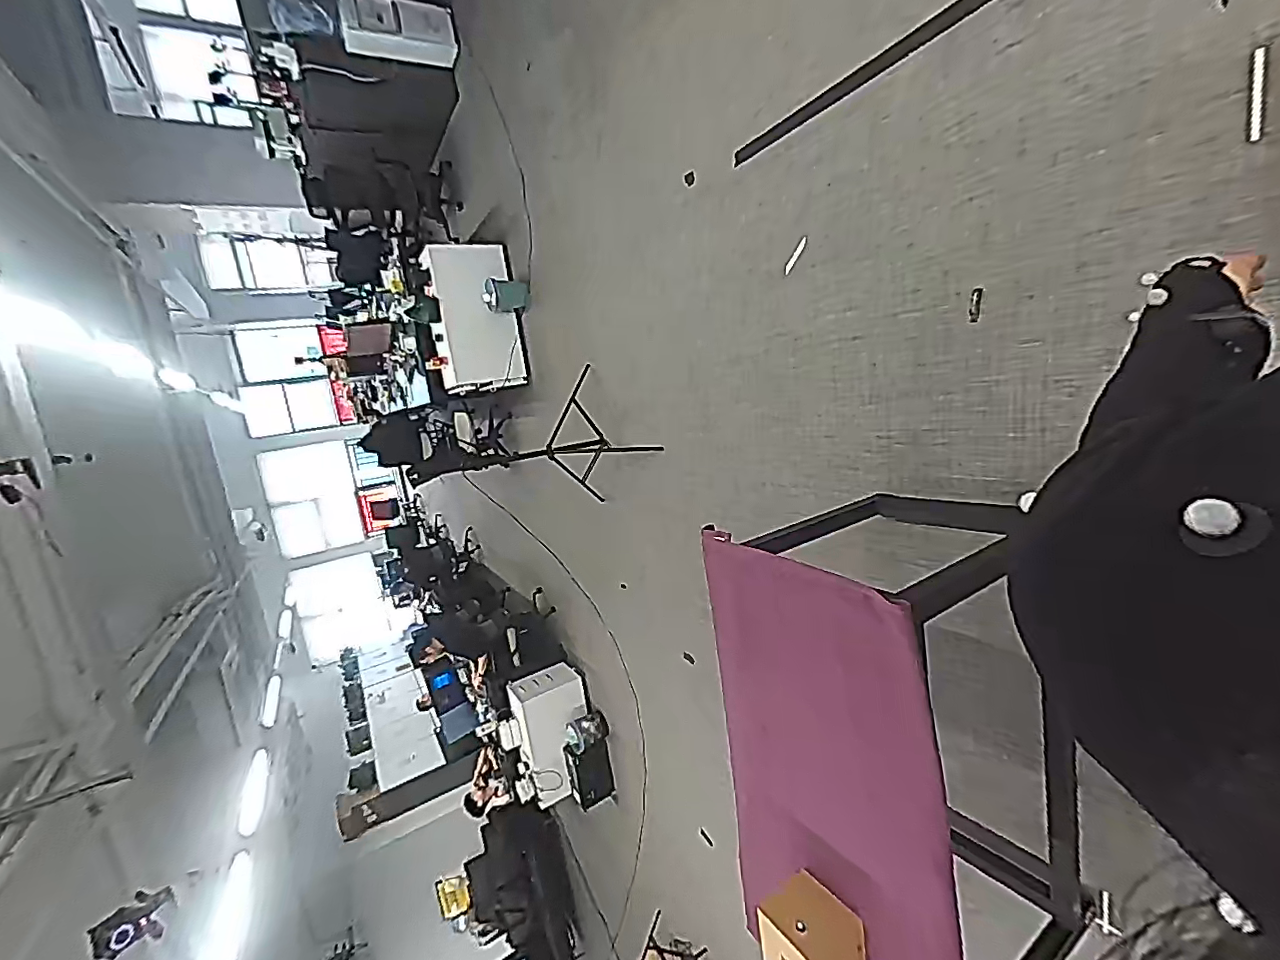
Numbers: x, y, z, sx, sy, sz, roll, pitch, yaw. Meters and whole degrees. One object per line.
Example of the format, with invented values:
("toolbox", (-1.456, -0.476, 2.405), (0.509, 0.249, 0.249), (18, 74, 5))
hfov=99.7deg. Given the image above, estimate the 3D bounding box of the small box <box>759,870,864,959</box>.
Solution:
("small box", (0.411, 1.083, 1.279), (0.179, 0.176, 0.168), (8, 108, 59))
